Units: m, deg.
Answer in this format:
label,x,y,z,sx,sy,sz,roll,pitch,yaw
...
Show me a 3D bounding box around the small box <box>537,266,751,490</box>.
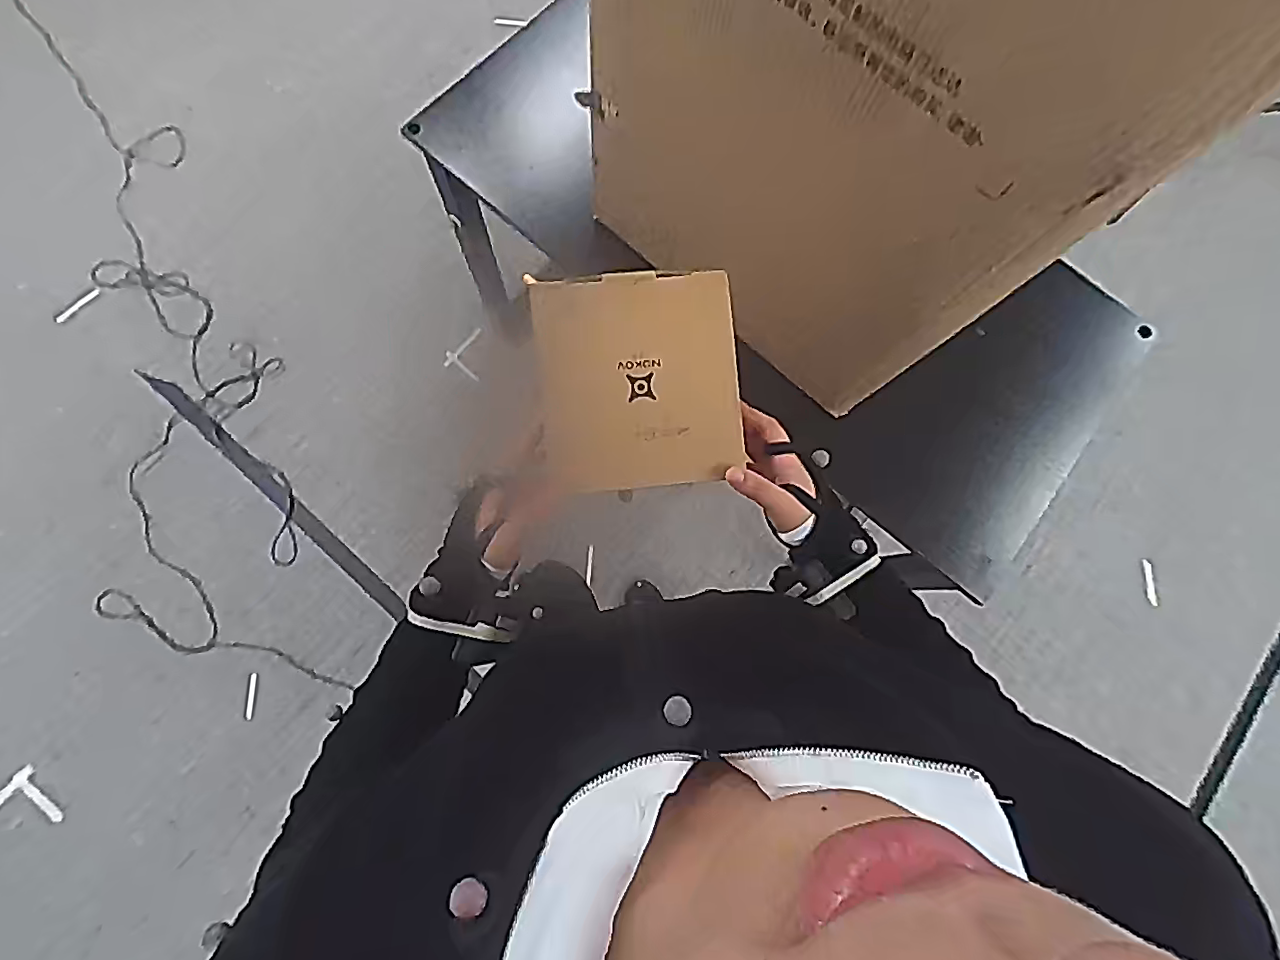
label,x,y,z,sx,sy,sz,roll,pitch,yaw
small box,-0.004,-0.084,0.516,0.168,0.176,0.179,-6,92,-5
